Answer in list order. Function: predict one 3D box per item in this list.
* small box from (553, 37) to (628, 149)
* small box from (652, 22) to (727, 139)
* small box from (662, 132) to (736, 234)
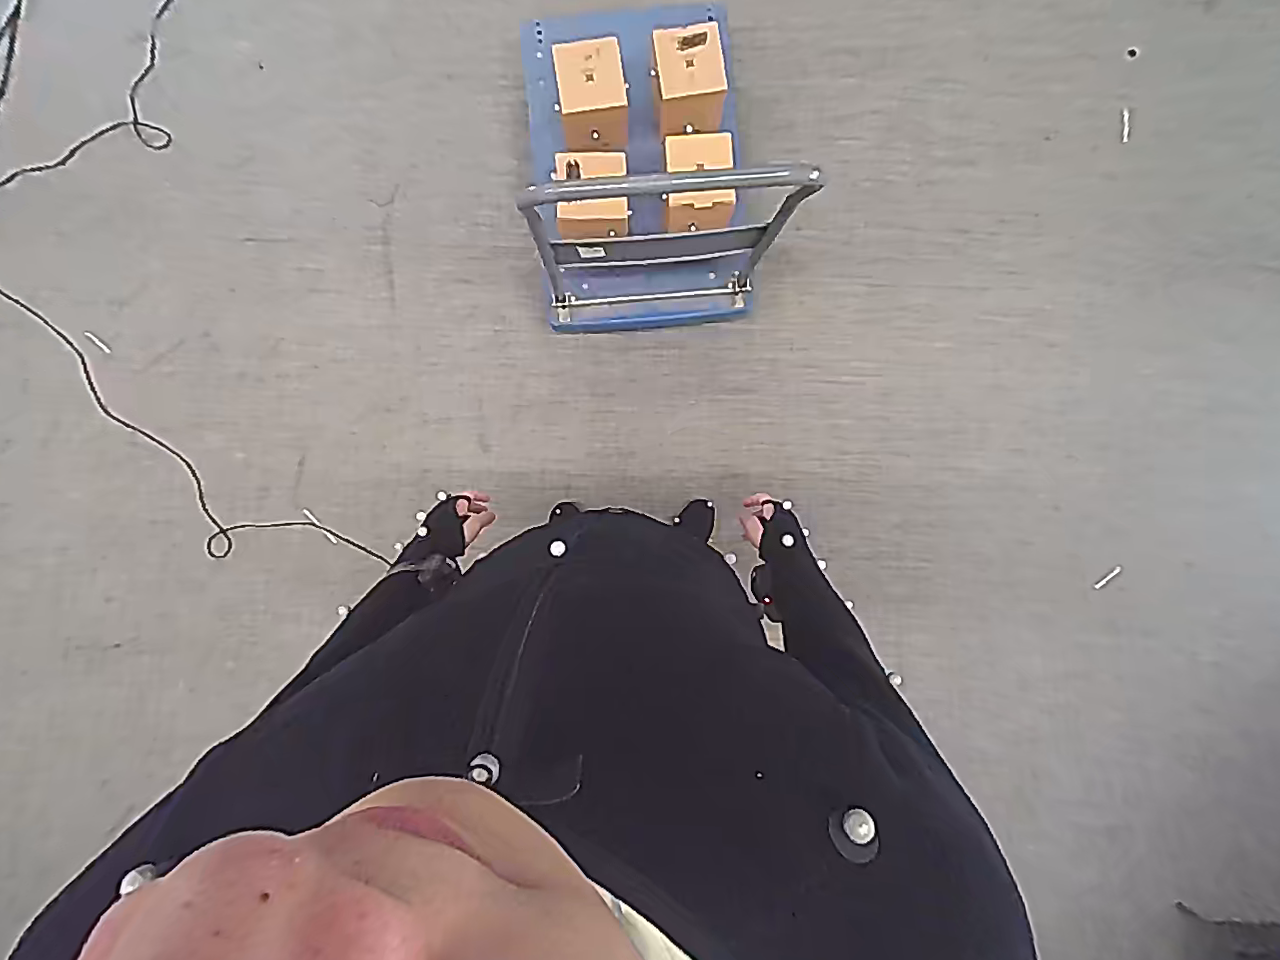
[{"bbox_3d":[-0.124,-1.004,1.422,0.168,0.176,0.179,-9,89,-1],"label":"small box"},{"bbox_3d":[0.124,-1.045,1.425,0.168,0.176,0.179,-9,90,0],"label":"small box"},{"bbox_3d":[0.150,-0.775,1.422,0.168,0.176,0.179,-4,90,-1],"label":"small box"}]
